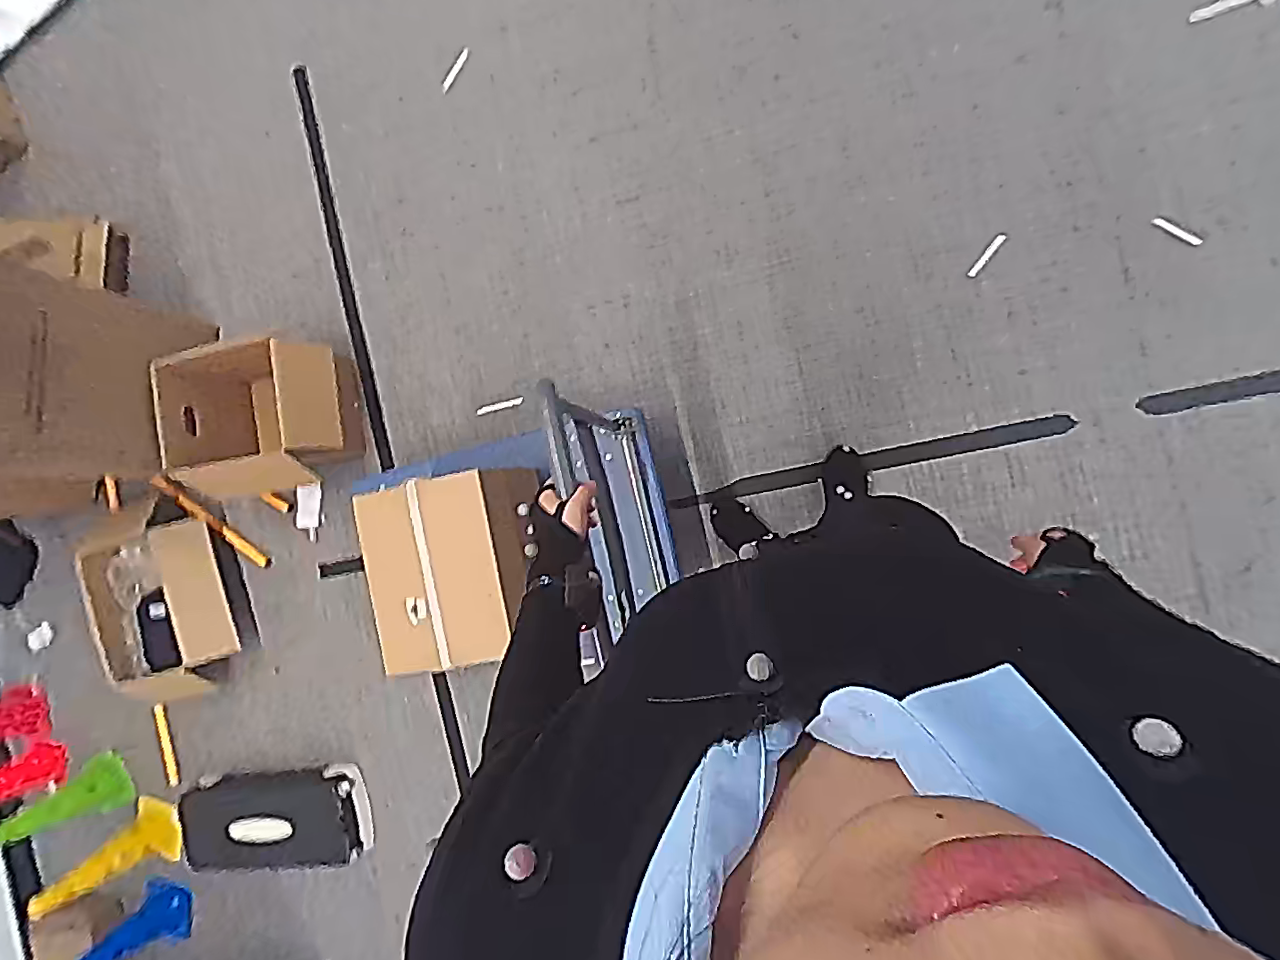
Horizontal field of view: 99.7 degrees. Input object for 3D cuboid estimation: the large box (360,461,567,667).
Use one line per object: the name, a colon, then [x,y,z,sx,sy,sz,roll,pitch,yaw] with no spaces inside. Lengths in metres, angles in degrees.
large box: [-0.404,0.181,1.309,0.320,0.320,0.408,-12,91,13]
